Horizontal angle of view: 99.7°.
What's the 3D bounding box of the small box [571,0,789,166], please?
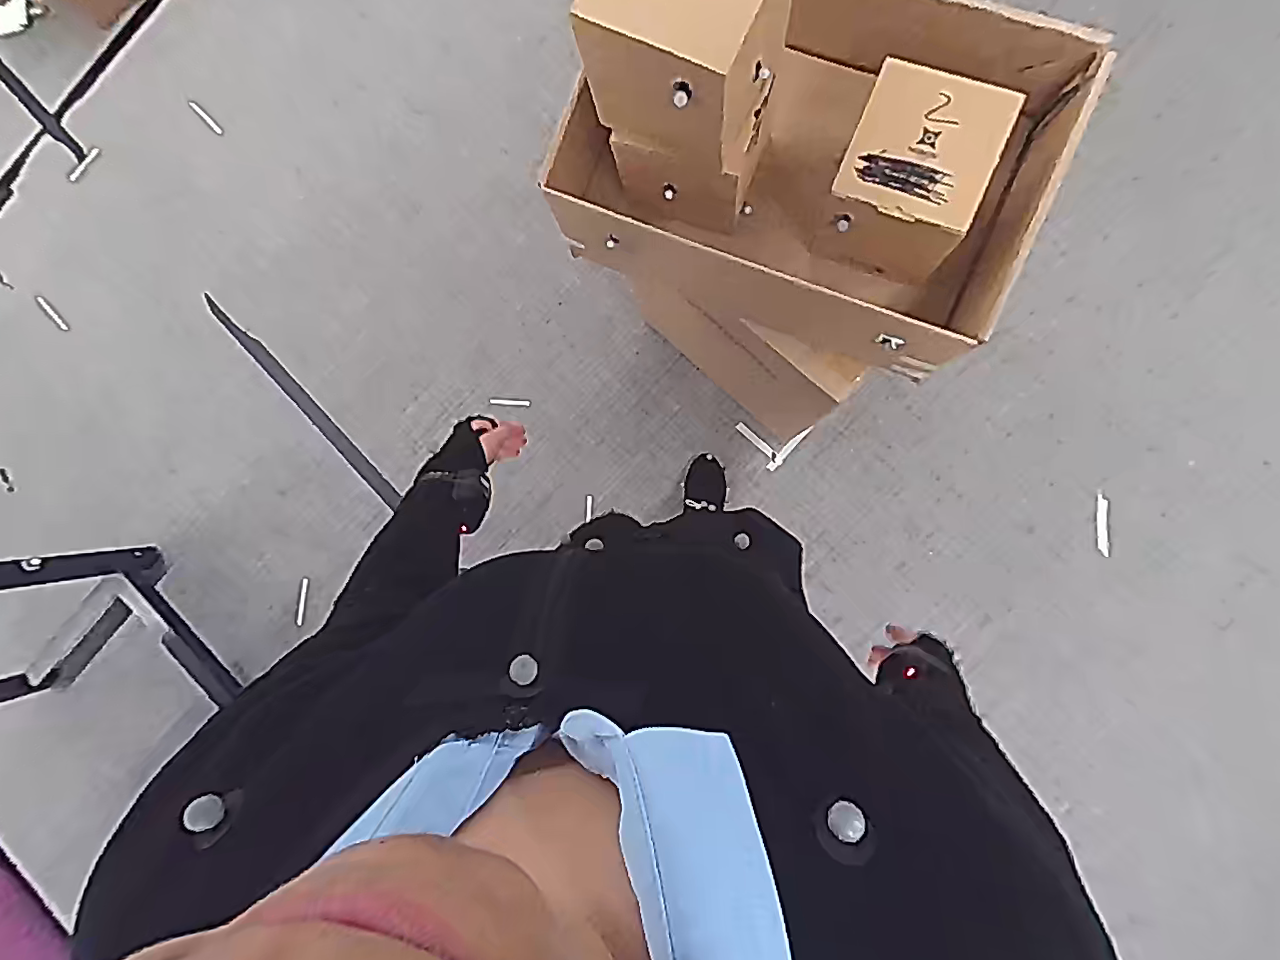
[{"bbox_3d":[0.054,-0.487,0.596,0.179,0.176,0.168,27,92,7],"label":"small box"}]
